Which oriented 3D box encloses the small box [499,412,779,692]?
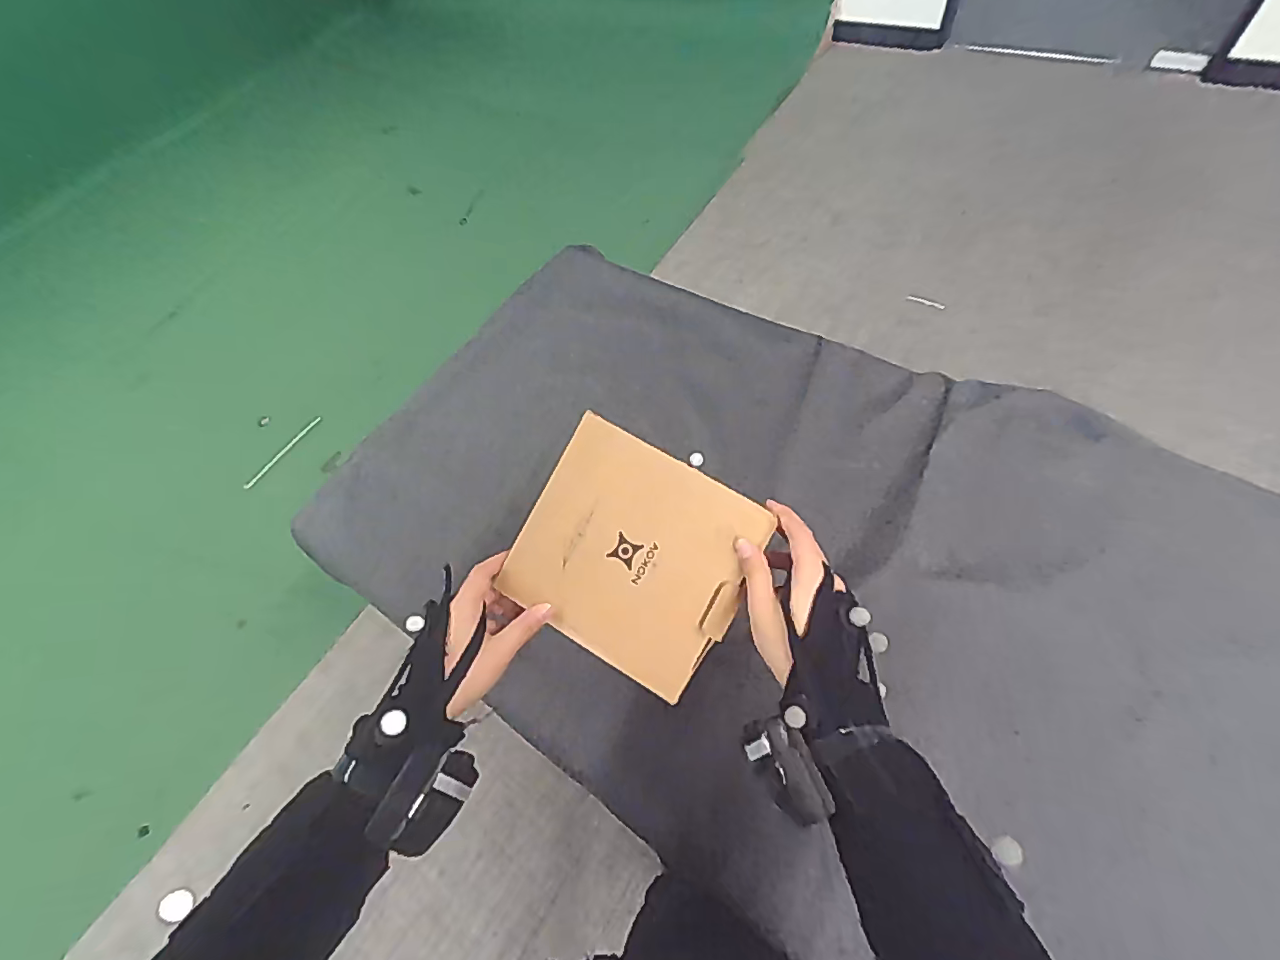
[{"bbox_3d":[0.009,0.059,0.506,0.179,0.176,0.168,29,90,12],"label":"small box"}]
